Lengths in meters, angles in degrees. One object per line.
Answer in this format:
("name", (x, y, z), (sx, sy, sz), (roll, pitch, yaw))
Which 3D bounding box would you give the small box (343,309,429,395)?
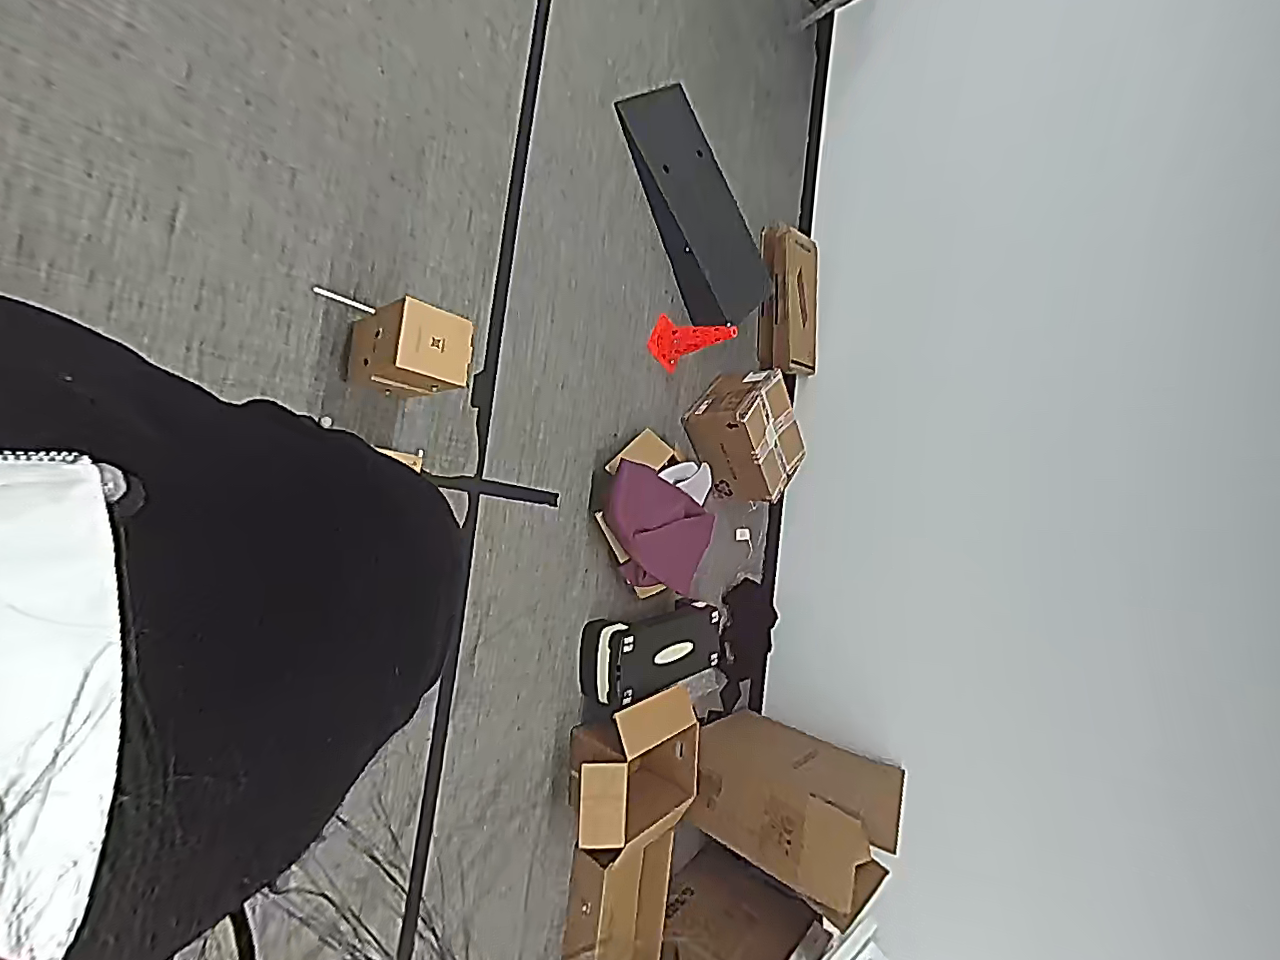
("small box", (-0.663, -0.328, 1.429), (0.168, 0.176, 0.179), (10, 84, -48))

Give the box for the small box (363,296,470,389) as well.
("small box", (-0.545, -0.325, 1.318), (0.179, 0.176, 0.168), (11, 83, -47))
